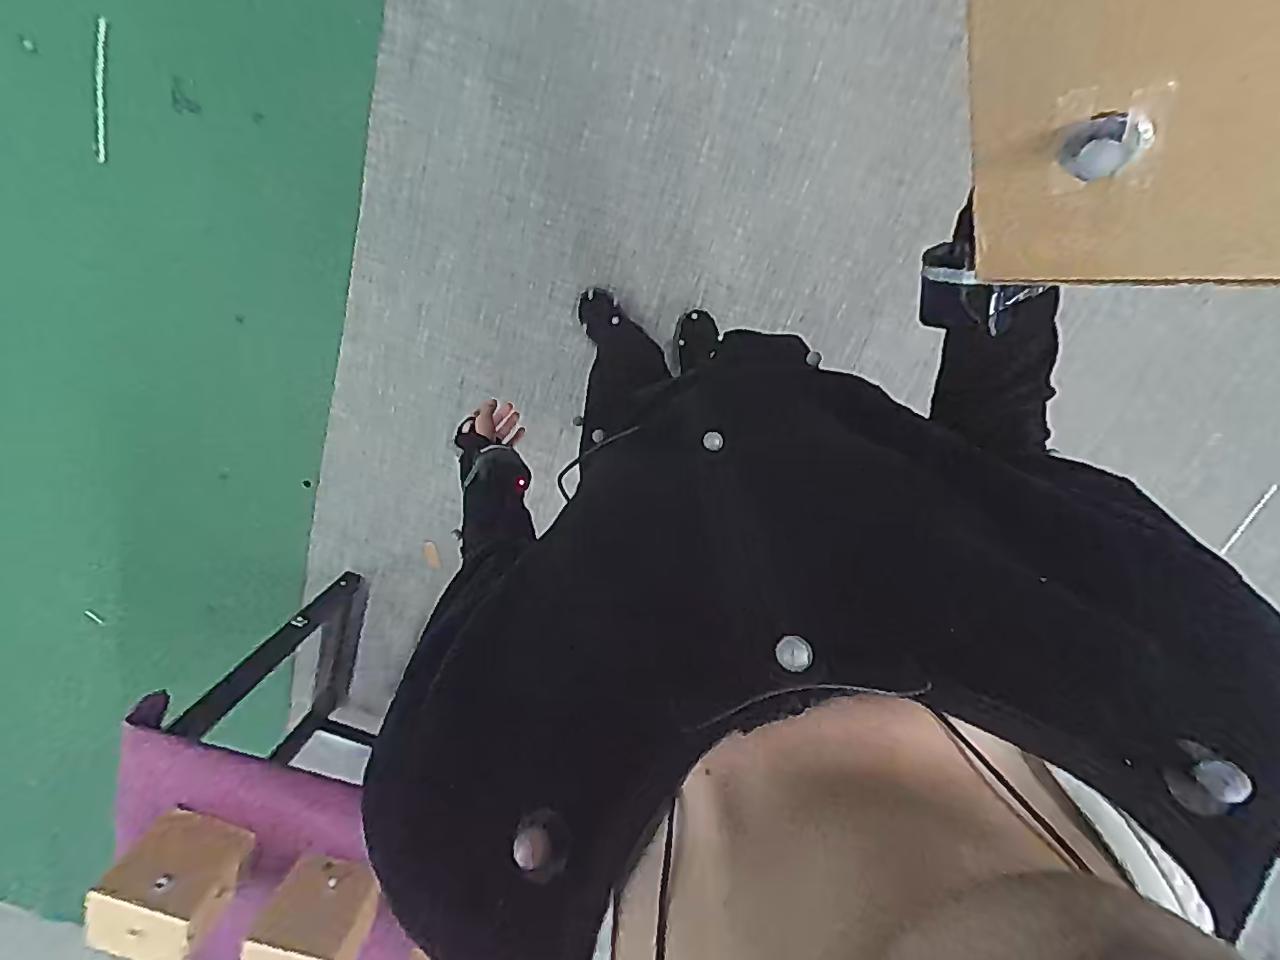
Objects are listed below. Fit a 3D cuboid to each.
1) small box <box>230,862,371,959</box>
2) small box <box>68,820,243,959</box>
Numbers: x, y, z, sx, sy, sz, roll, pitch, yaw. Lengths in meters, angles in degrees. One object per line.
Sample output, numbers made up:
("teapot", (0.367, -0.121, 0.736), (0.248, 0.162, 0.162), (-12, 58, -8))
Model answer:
("small box", (-0.635, 0.878, 1.022), (0.168, 0.176, 0.179), (16, 108, -3))
("small box", (-0.884, 0.774, 1.000), (0.179, 0.176, 0.168), (23, 109, -5))
